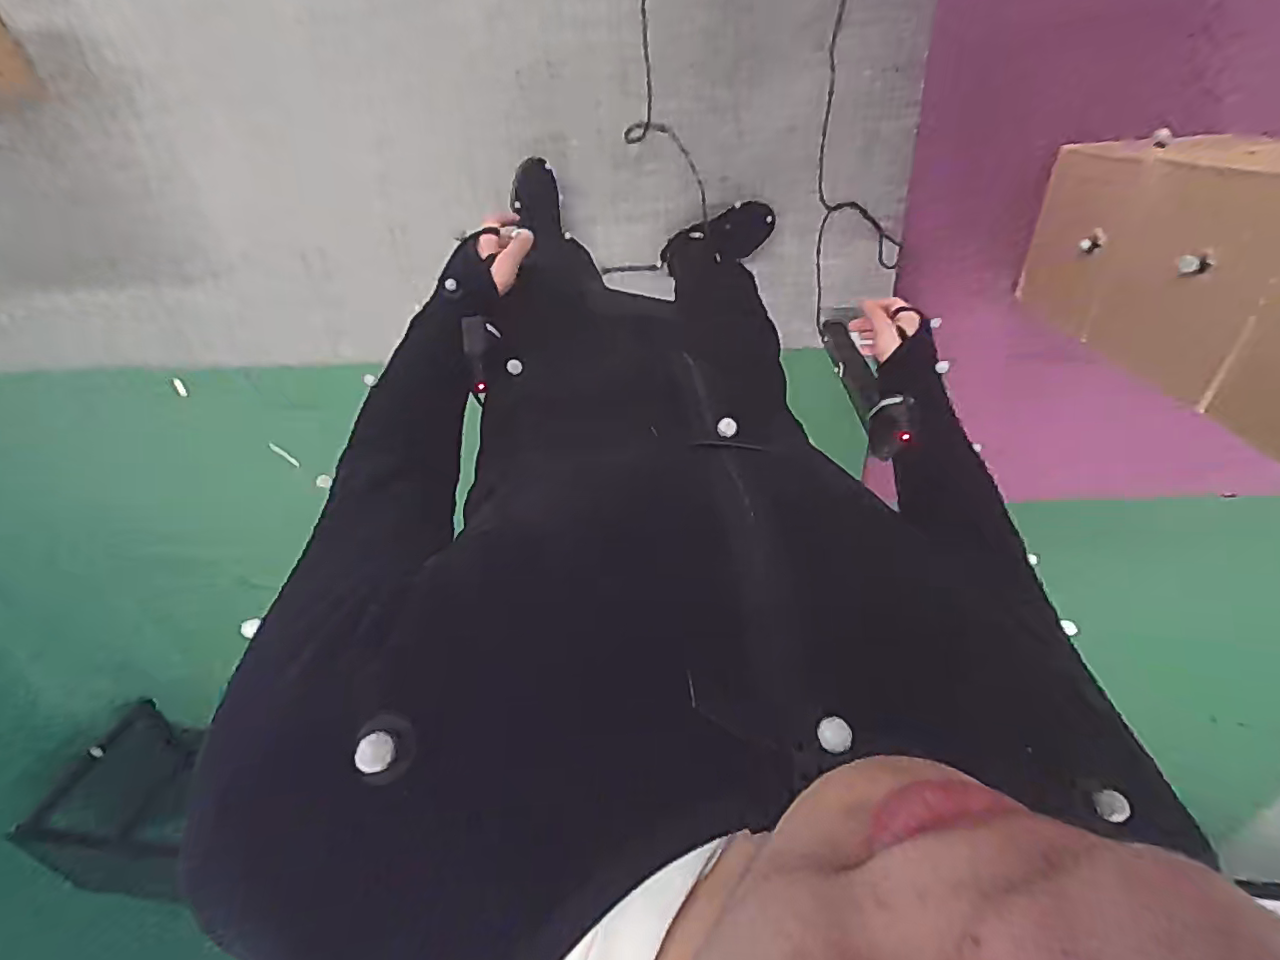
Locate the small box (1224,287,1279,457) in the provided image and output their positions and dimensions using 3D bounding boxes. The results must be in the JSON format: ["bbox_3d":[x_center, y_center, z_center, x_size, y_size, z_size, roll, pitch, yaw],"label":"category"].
[{"bbox_3d":[0.537,-0.077,0.330,0.168,0.176,0.179,-1,123,8],"label":"small box"}]

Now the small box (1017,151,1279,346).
[{"bbox_3d":[0.564,-0.261,0.601,0.168,0.176,0.179,1,124,6],"label":"small box"}]

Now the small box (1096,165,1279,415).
[{"bbox_3d":[0.551,-0.170,0.466,0.168,0.176,0.179,0,123,8],"label":"small box"}]
